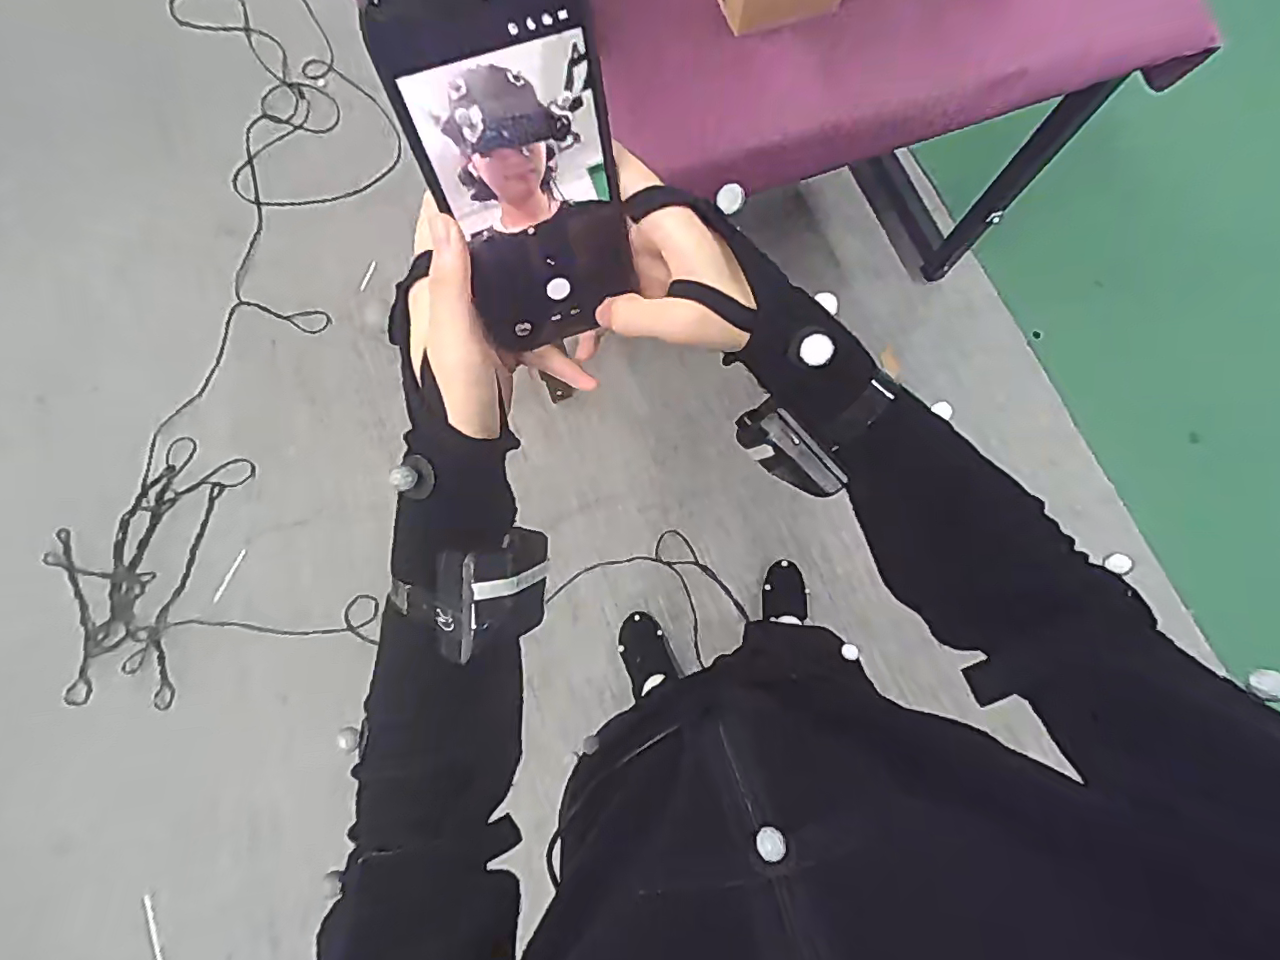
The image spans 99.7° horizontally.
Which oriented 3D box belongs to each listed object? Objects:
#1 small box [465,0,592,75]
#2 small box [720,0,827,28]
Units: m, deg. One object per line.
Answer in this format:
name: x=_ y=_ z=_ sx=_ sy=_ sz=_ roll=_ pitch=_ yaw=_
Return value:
small box: x=-0.172 y=-0.713 z=0.760 sx=0.168 sy=0.176 sz=0.179 roll=-17 pitch=77 yaw=-4
small box: x=0.205 y=-0.814 z=0.784 sx=0.179 sy=0.176 sz=0.168 roll=-18 pitch=77 yaw=-4
